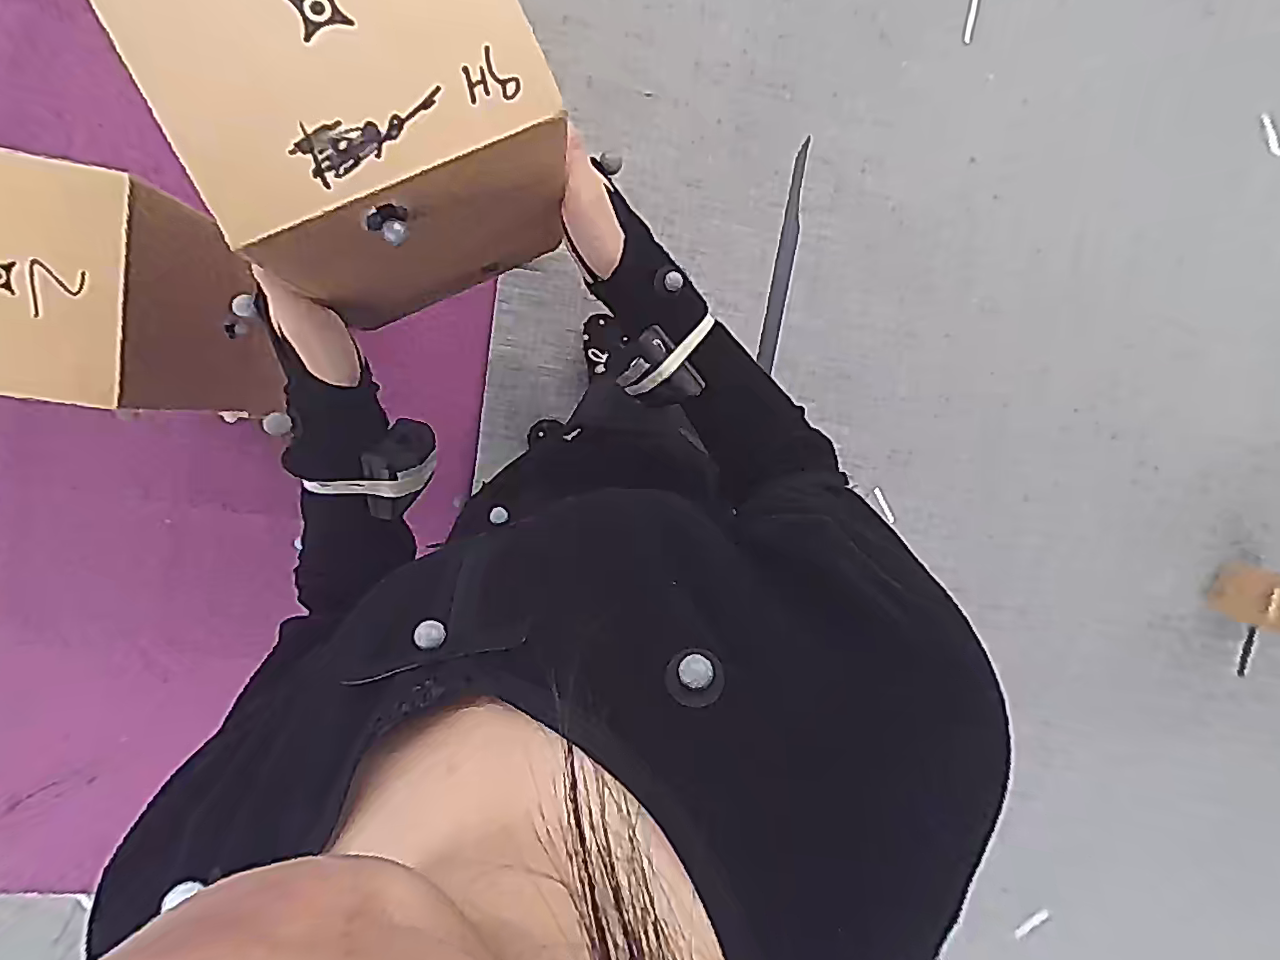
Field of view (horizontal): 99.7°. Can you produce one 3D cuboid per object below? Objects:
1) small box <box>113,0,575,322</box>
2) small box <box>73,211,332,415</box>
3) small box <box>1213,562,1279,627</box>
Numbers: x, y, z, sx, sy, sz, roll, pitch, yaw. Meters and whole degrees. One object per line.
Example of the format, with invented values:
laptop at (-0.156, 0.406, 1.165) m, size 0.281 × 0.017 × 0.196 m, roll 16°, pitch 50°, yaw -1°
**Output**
small box at (-0.151, -0.219, 0.316) m, size 0.168 × 0.176 × 0.179 m, roll -26°, pitch 96°, yaw -6°
small box at (-0.472, -0.171, 0.611) m, size 0.168 × 0.176 × 0.179 m, roll 7°, pitch 97°, yaw -6°
small box at (1.978, 0.361, 1.698) m, size 0.179 × 0.176 × 0.168 m, roll 6°, pitch 96°, yaw -7°
